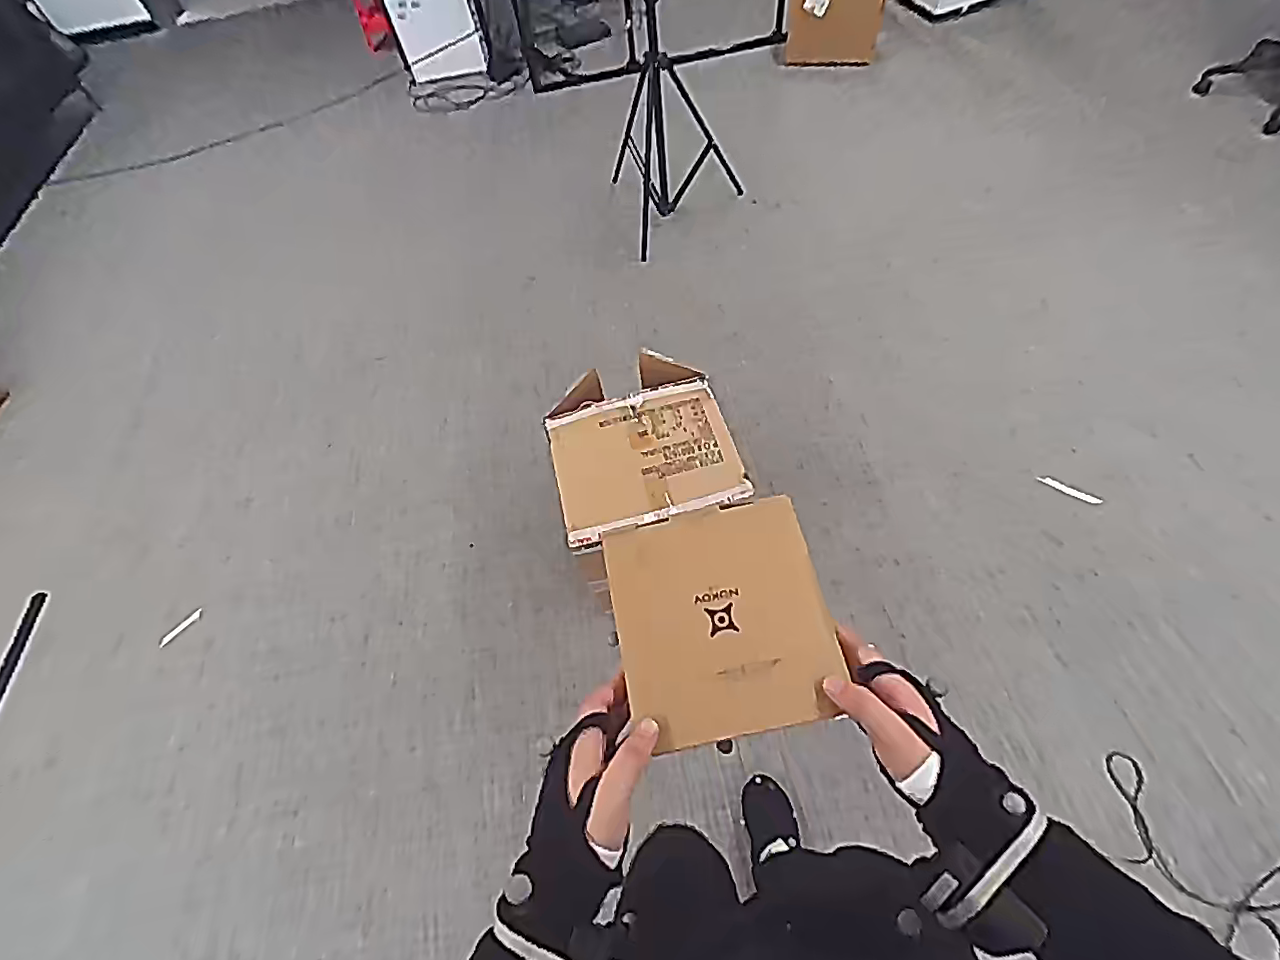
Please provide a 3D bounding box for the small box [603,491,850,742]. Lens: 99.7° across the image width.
[{"bbox_3d":[0.066,0.133,0.504,0.168,0.176,0.179,-12,67,-1],"label":"small box"}]
